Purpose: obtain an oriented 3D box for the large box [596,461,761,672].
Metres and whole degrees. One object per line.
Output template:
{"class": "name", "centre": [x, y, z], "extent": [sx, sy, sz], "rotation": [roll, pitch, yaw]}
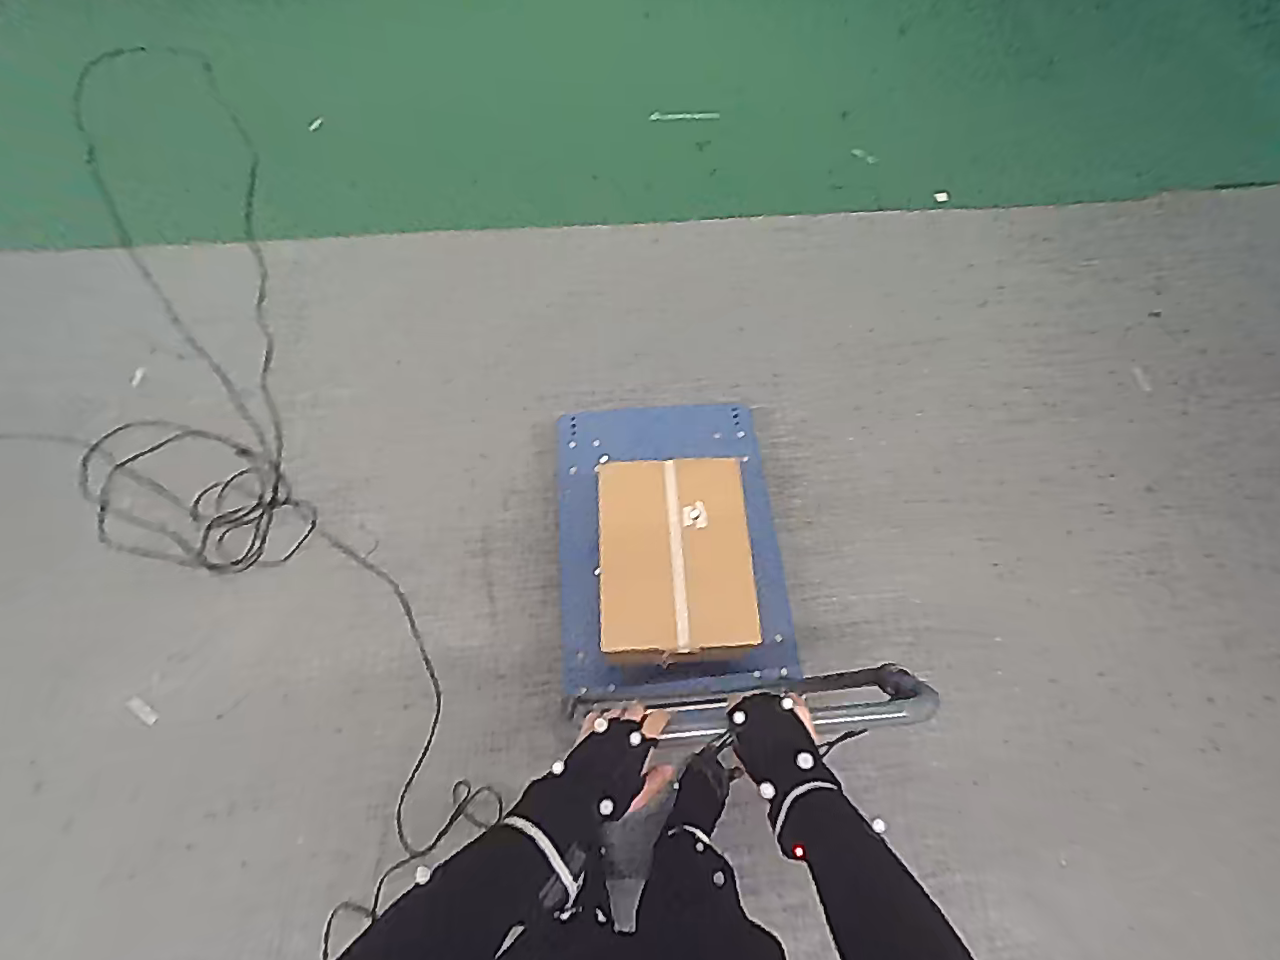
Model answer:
{"class": "large box", "centre": [0.067, 0.208, 1.242], "extent": [0.320, 0.320, 0.408], "rotation": [-2, 65, -3]}
